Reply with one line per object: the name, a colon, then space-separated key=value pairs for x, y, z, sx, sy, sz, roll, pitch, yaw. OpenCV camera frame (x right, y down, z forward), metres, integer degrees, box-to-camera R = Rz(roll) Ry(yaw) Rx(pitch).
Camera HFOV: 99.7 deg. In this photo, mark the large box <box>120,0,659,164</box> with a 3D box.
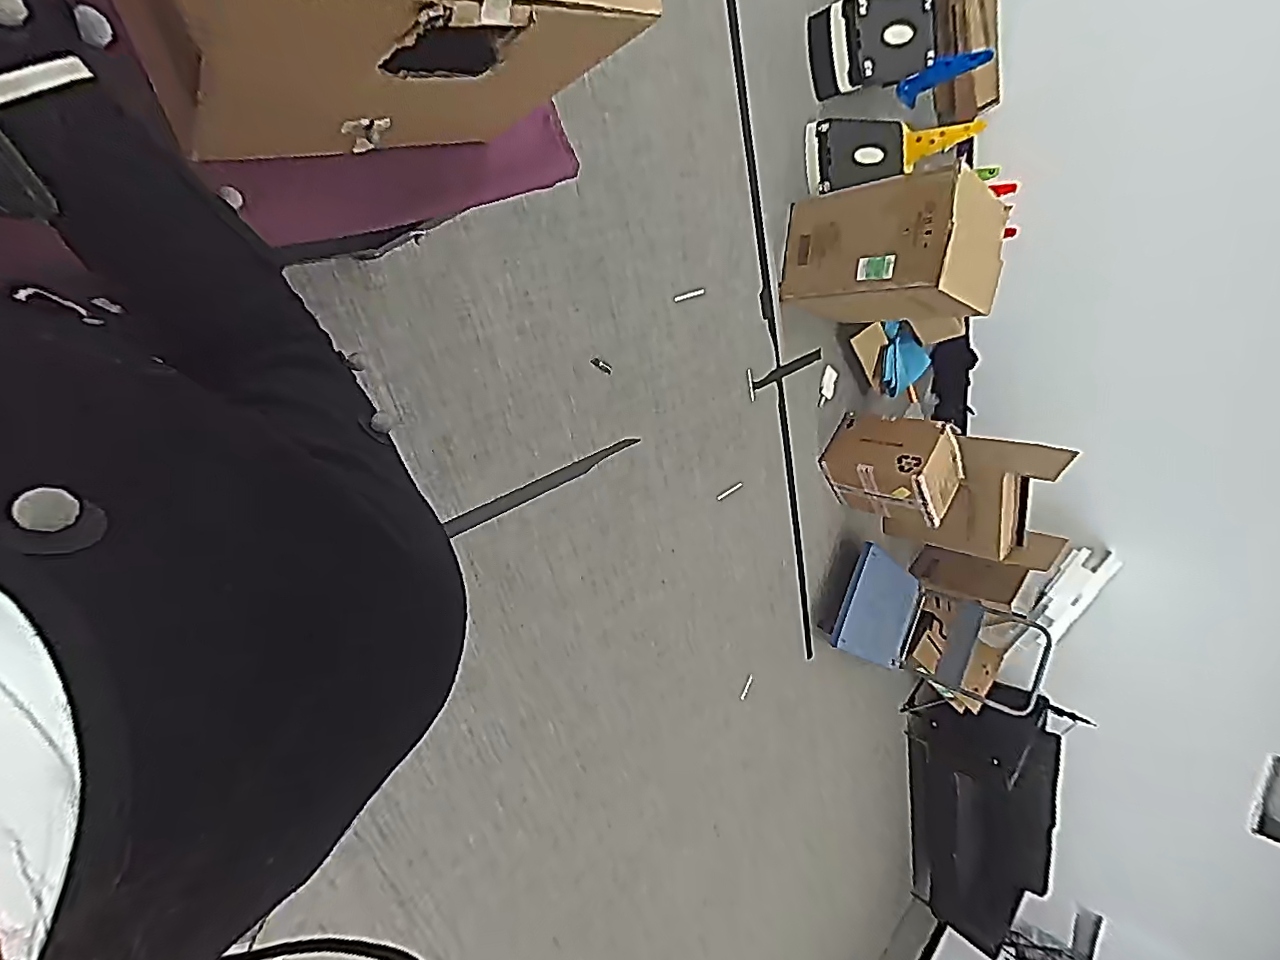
large box: x=-0.236 y=-0.500 z=0.380 sx=0.320 sy=0.320 sz=0.408 roll=-30 pitch=117 yaw=-34
